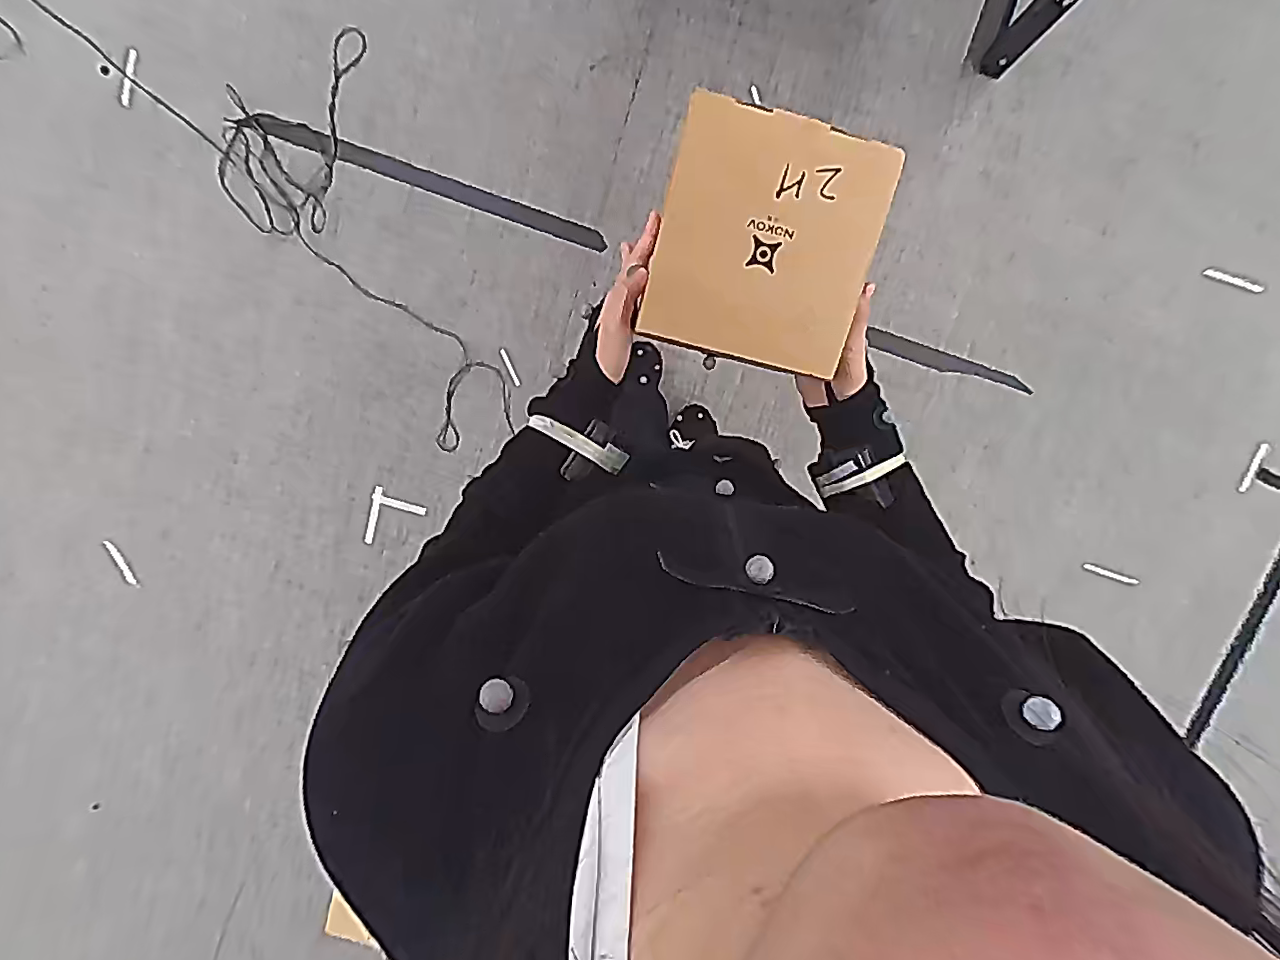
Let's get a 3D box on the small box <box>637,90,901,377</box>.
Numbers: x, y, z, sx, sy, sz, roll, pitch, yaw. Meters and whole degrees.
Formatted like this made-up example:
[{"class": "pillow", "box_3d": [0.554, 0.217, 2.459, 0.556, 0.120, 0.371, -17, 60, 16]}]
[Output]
[{"class": "small box", "box_3d": [0.096, -0.202, 0.495, 0.168, 0.176, 0.179, 13, 102, -6]}]
